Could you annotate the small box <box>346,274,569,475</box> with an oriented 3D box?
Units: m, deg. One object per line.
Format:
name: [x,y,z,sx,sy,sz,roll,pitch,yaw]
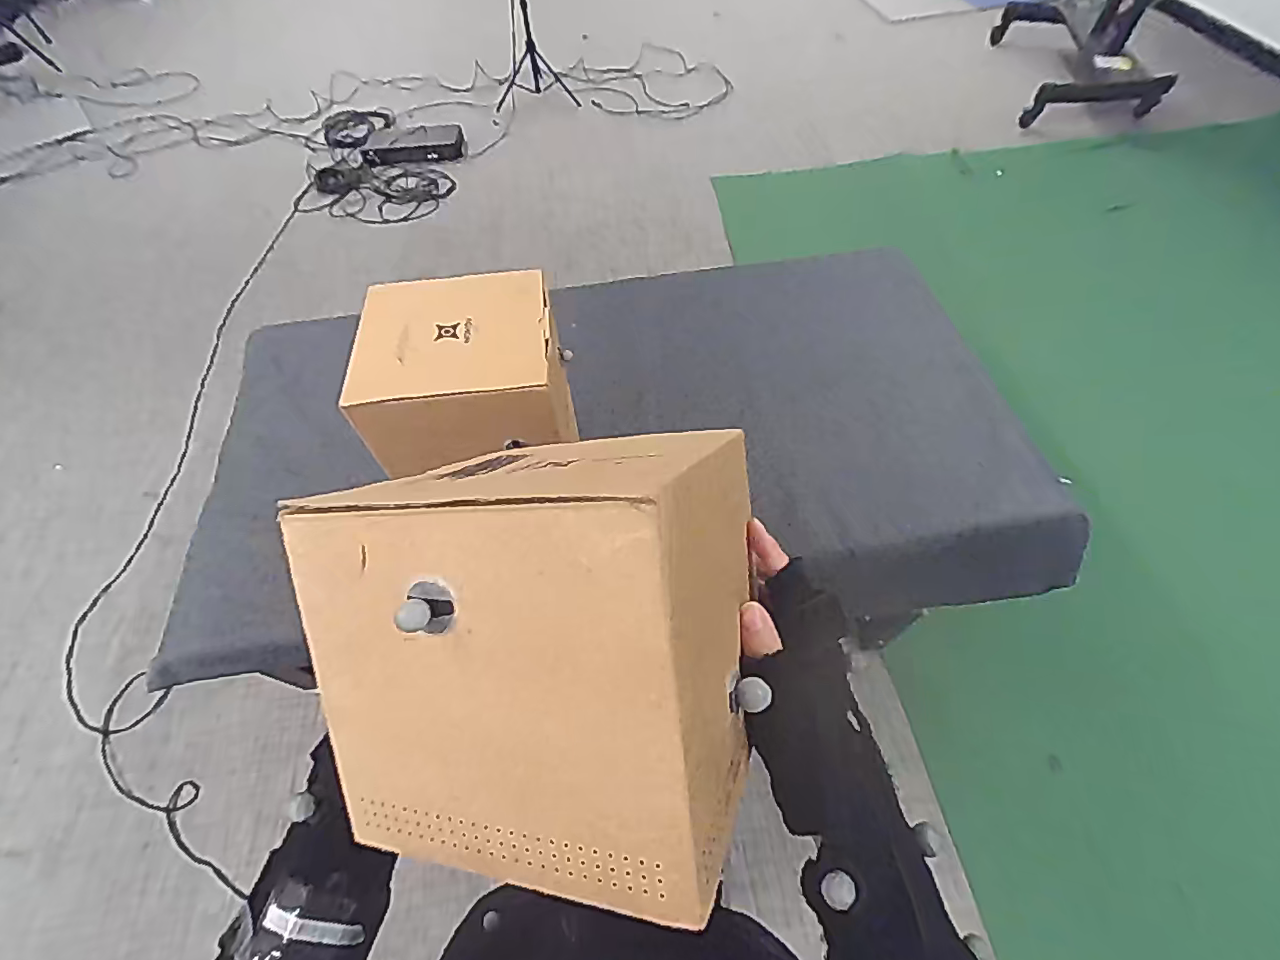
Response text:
small box: [-0.169,-0.088,0.570,0.179,0.176,0.168,-7,55,-2]

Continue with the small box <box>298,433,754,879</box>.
small box: [-0.041,0.071,0.299,0.179,0.168,0.176,-2,101,21]
